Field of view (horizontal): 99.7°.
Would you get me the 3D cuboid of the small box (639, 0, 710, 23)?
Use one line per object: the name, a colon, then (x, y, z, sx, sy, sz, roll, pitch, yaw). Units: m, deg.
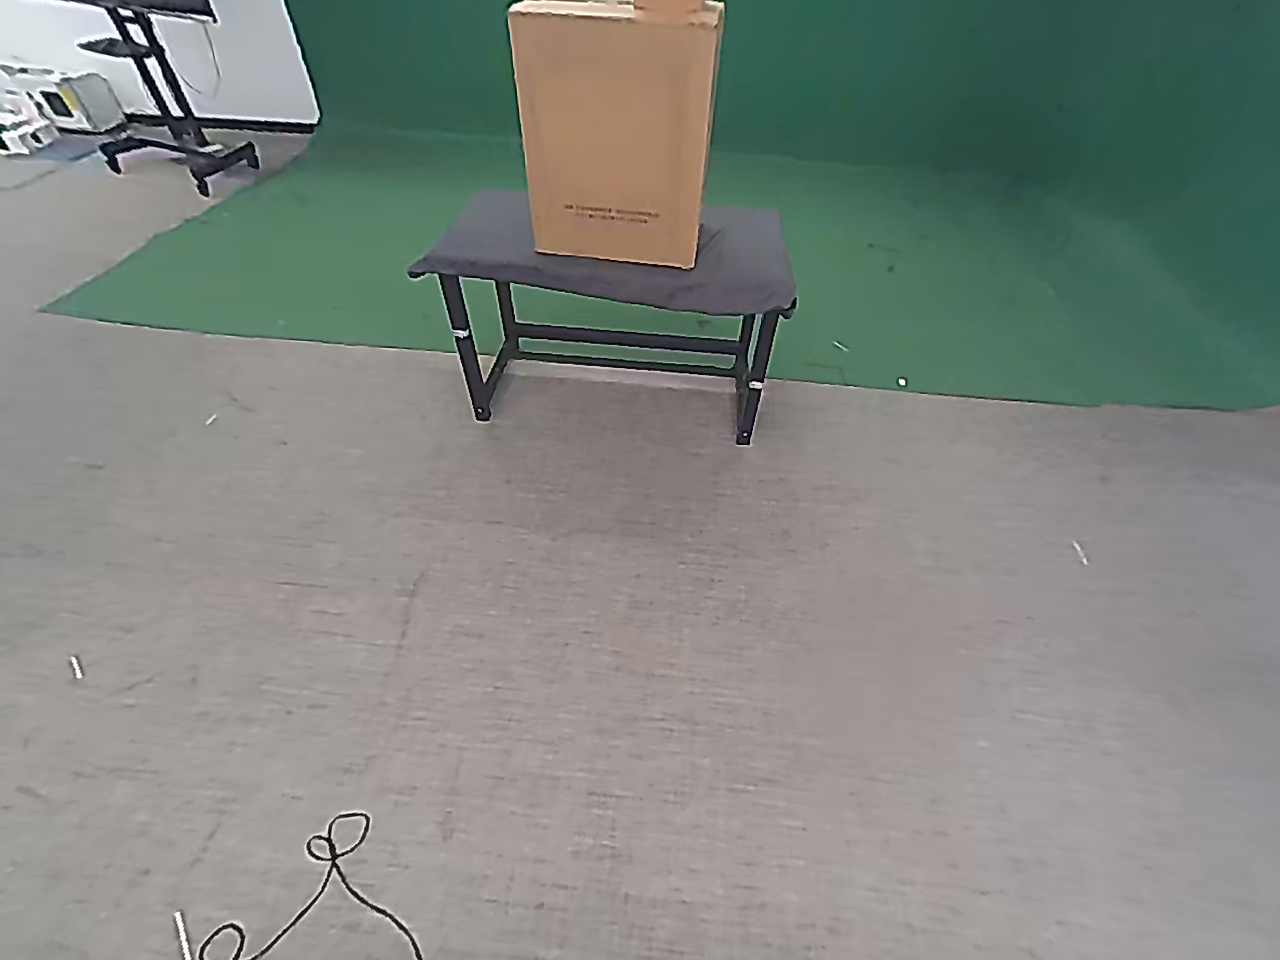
small box: (0.097, -1.303, 1.391, 0.179, 0.176, 0.168, 9, 51, 3)
